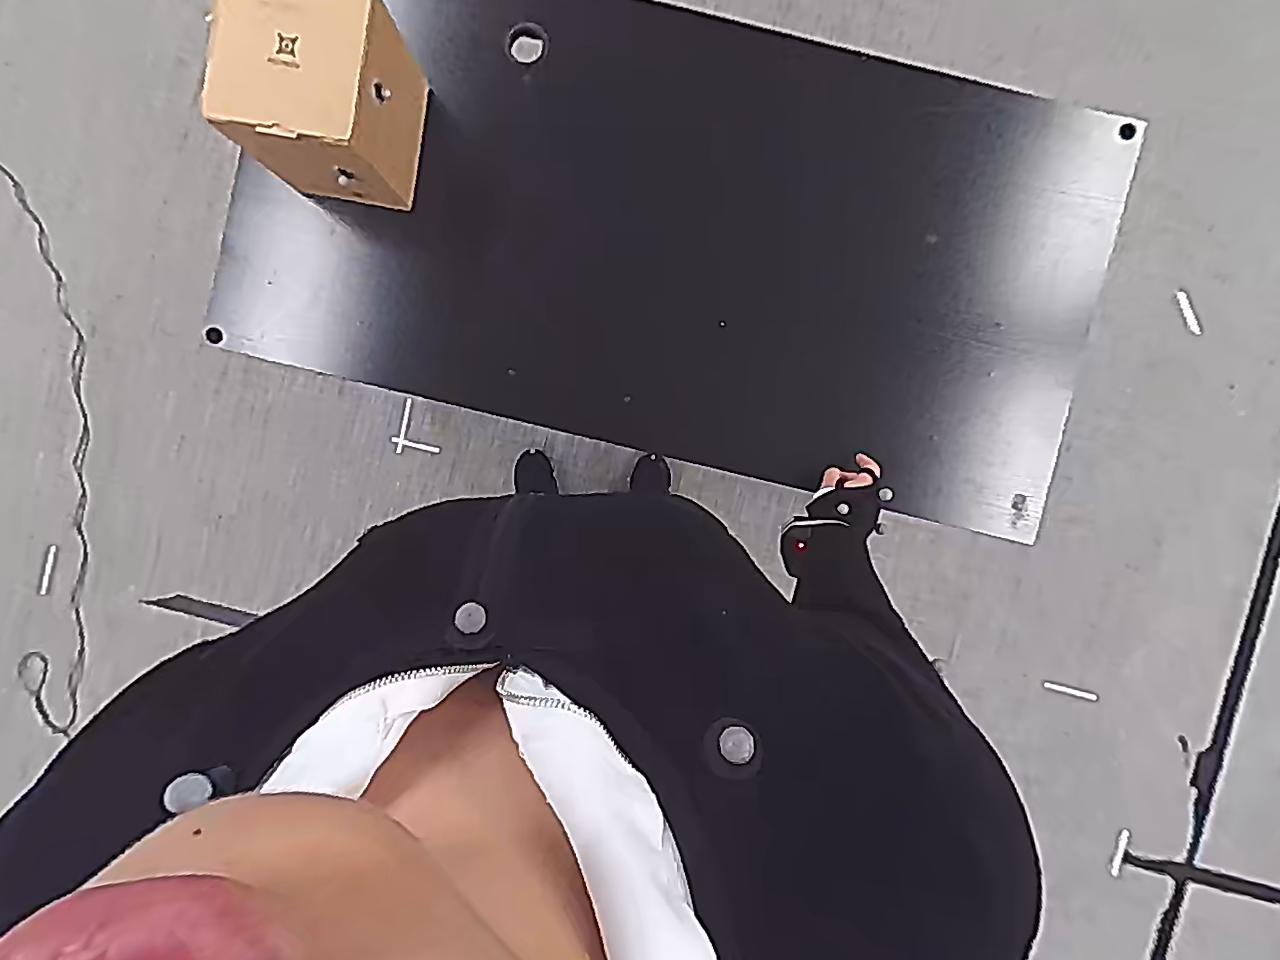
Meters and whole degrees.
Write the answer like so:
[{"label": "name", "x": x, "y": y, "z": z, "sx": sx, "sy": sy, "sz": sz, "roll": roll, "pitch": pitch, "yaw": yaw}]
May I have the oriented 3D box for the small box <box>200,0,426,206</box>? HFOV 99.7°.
[{"label": "small box", "x": -0.379, "y": -0.464, "z": 0.656, "sx": 0.168, "sy": 0.176, "sz": 0.179, "roll": 9, "pitch": 92, "yaw": -2}]
